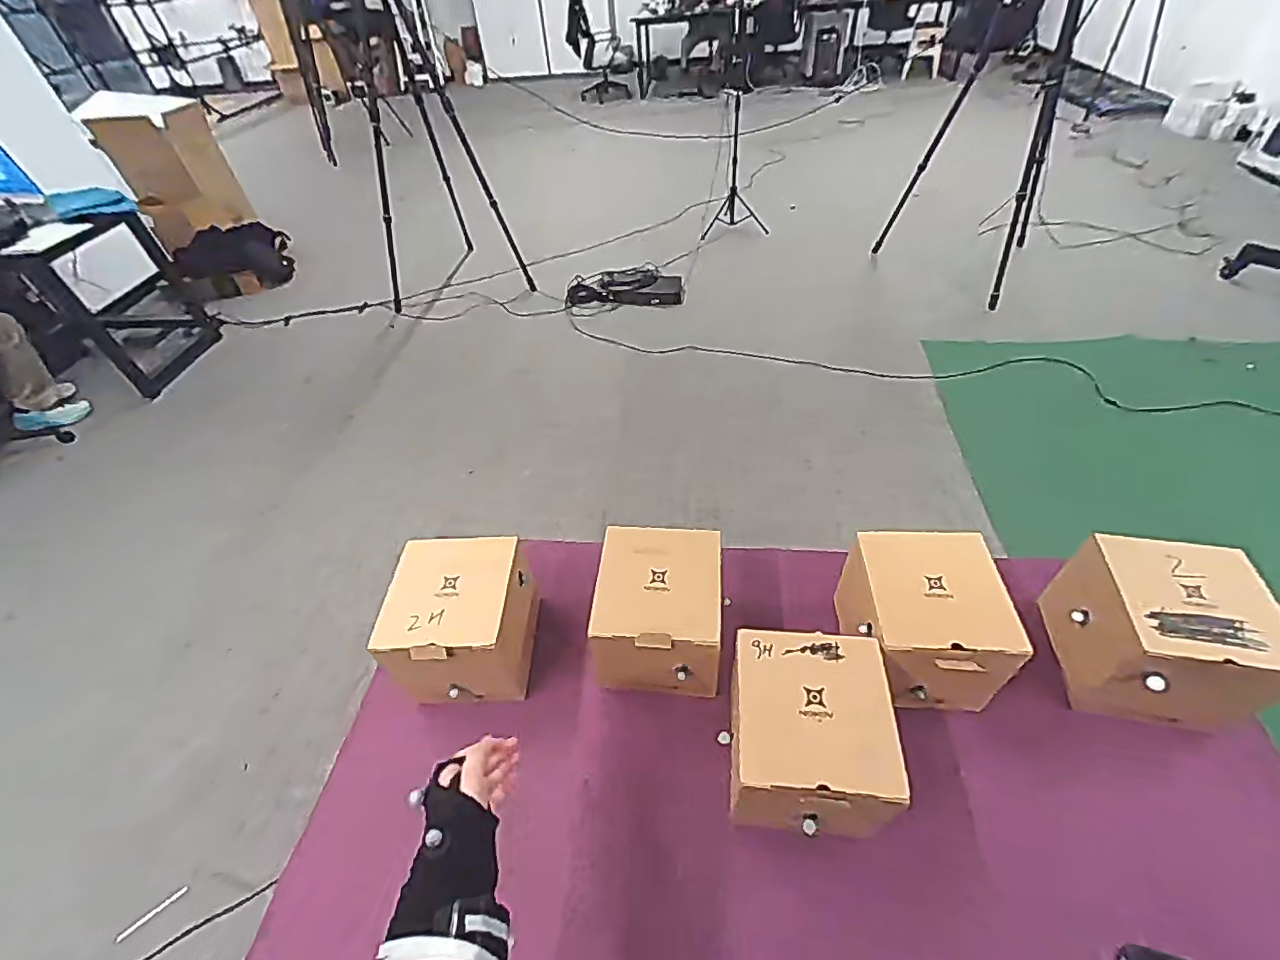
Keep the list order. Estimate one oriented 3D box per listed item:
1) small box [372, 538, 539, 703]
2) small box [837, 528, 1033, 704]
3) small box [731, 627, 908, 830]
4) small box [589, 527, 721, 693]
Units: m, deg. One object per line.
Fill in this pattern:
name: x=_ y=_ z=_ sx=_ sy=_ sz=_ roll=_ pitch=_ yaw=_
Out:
small box: x=-0.249 y=0.205 z=0.786 sx=0.168 sy=0.176 sz=0.179 roll=-3 pitch=46 yaw=4
small box: x=0.379 y=0.184 z=0.738 sx=0.168 sy=0.176 sz=0.179 roll=-1 pitch=48 yaw=6
small box: x=0.197 y=0.299 z=0.647 sx=0.168 sy=0.176 sz=0.179 roll=2 pitch=47 yaw=7
small box: x=0.032 y=0.188 z=0.774 sx=0.168 sy=0.176 sz=0.179 roll=2 pitch=47 yaw=6
